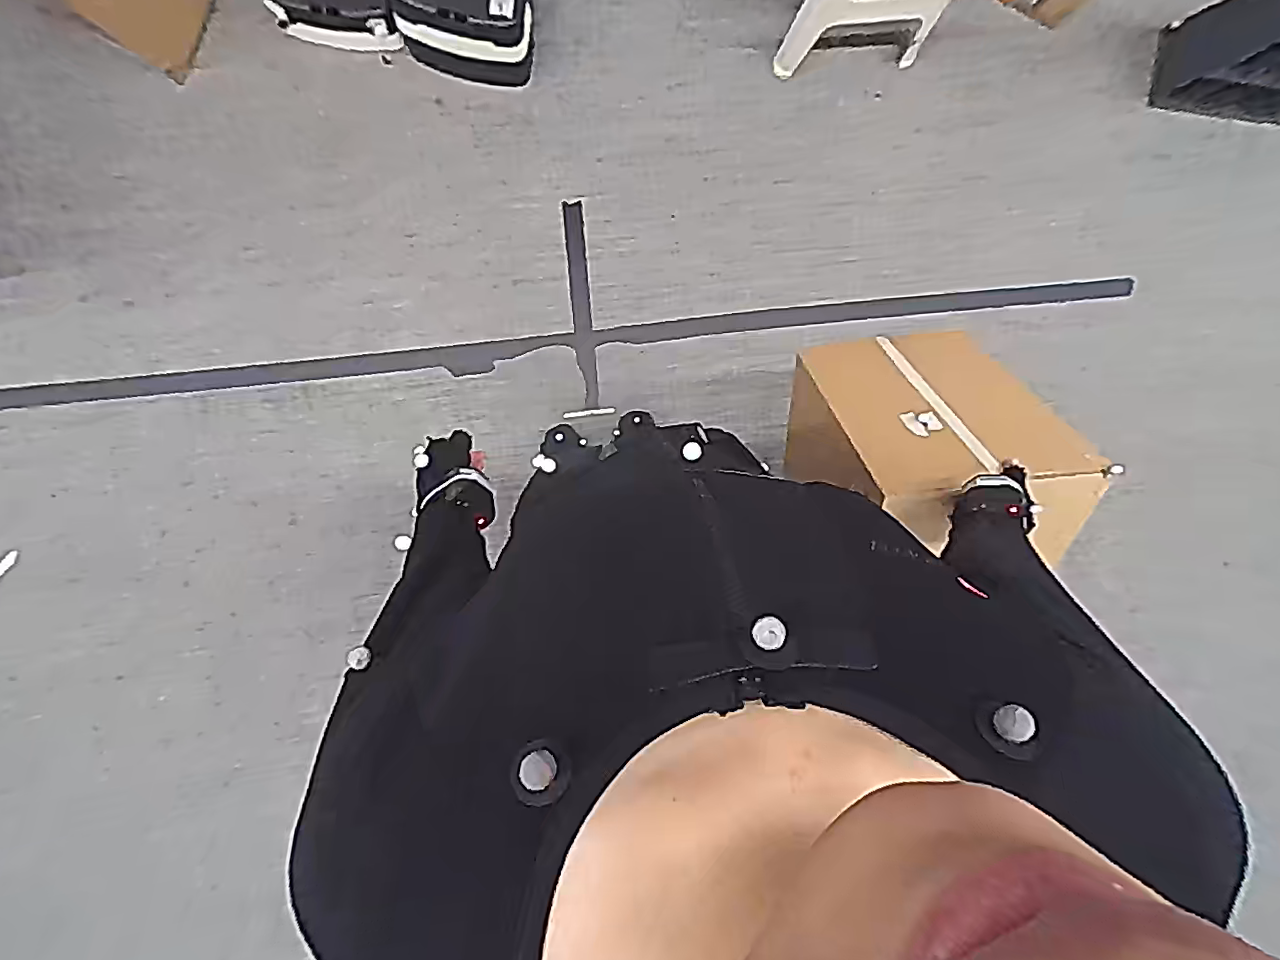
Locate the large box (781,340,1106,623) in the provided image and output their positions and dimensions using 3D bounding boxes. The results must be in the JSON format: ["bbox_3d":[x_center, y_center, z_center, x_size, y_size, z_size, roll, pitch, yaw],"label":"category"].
[{"bbox_3d":[0.475,-0.008,0.977,0.320,0.408,0.320,-6,133,-1],"label":"large box"}]
